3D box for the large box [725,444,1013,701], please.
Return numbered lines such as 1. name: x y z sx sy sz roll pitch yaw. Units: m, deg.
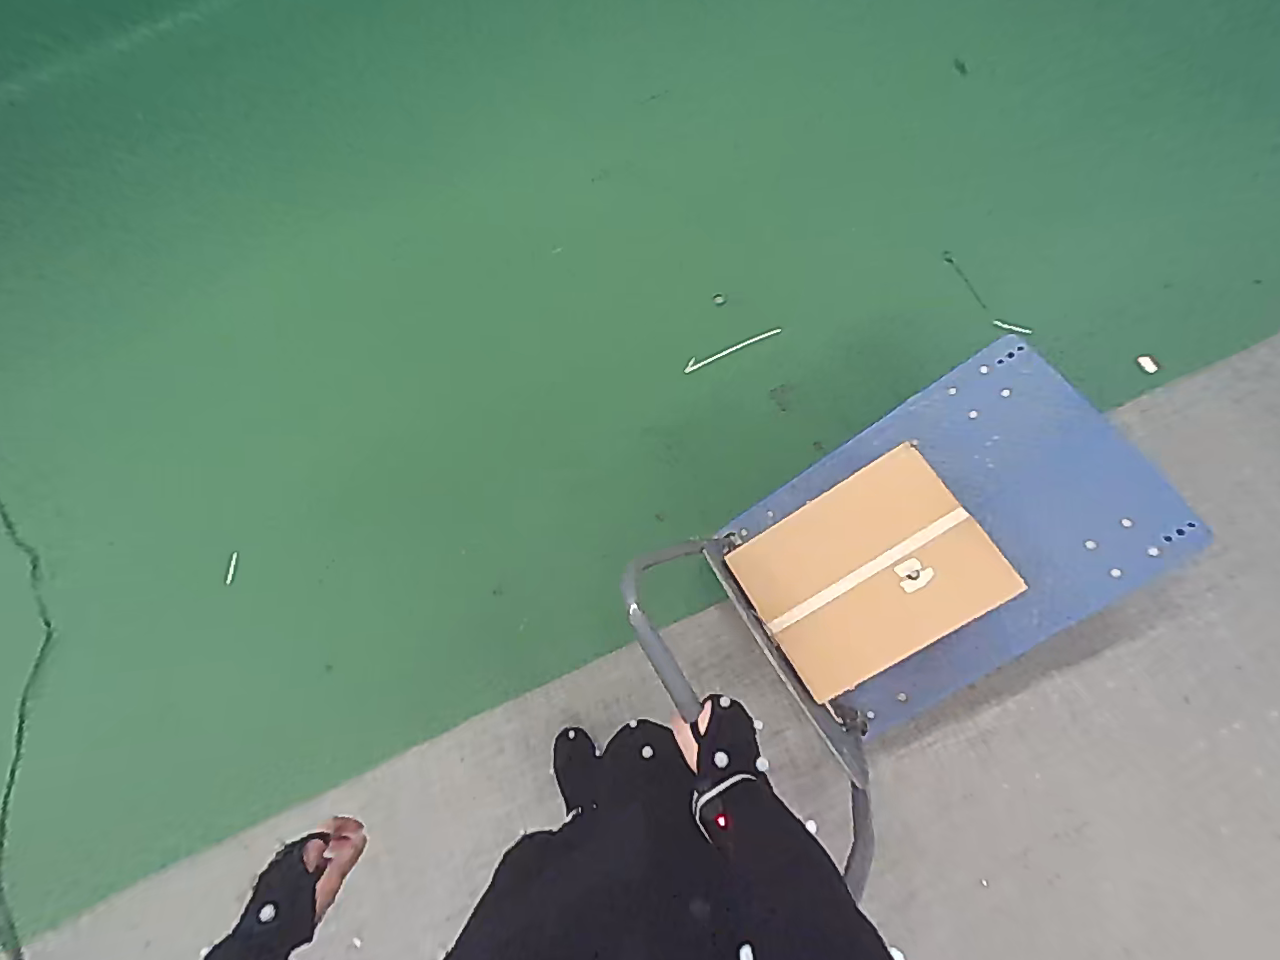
1. large box: 0.441 0.192 1.129 0.408 0.320 0.320 -35 74 9
